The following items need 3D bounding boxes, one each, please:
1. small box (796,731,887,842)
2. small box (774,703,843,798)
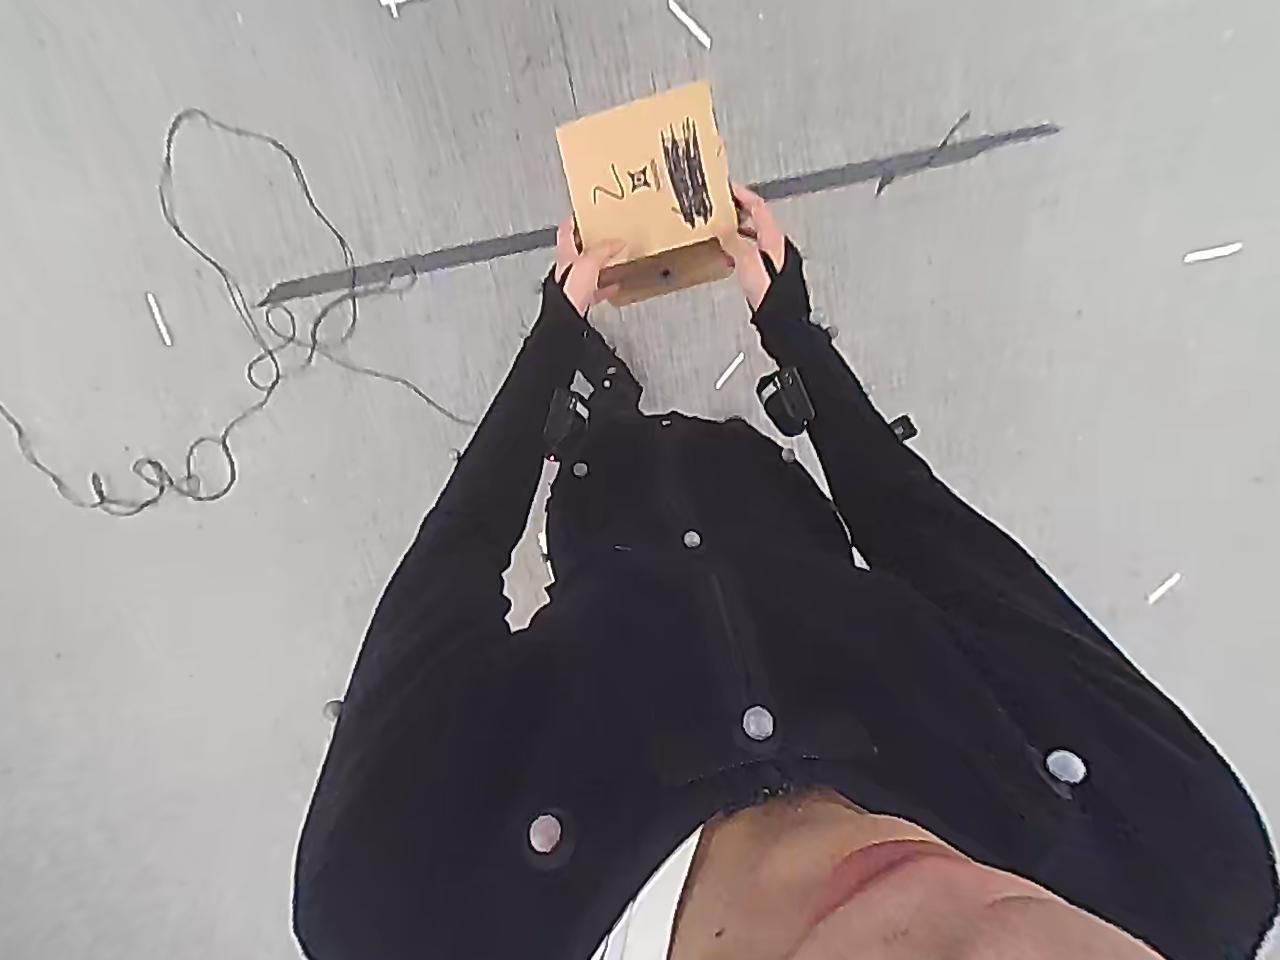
[{"bbox_3d":[0.528,0.805,1.431,0.168,0.176,0.179,-13,103,1],"label":"small box"},{"bbox_3d":[0.515,0.790,1.596,0.179,0.176,0.168,-16,104,3],"label":"small box"}]
